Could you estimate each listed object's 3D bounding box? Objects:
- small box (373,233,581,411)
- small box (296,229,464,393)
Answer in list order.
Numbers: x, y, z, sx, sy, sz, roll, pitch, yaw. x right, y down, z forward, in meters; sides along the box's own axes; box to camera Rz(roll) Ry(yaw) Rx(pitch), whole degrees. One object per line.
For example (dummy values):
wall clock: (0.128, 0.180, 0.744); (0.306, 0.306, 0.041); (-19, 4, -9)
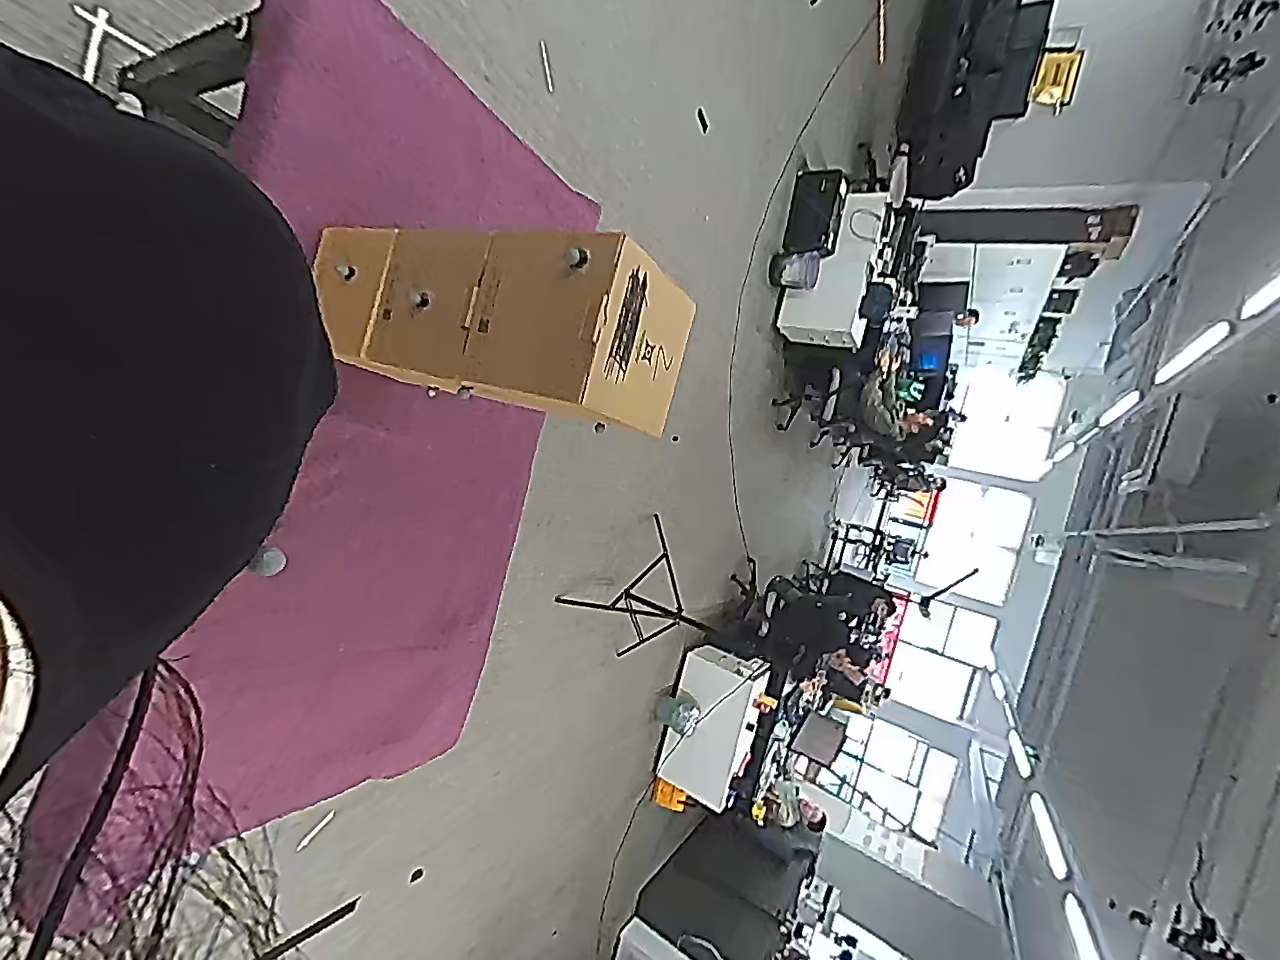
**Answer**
small box: (-0.209, -0.198, 0.699); (0.179, 0.176, 0.168); (10, 95, -61)
small box: (-0.350, -0.235, 0.774); (0.179, 0.176, 0.168); (15, 91, -61)
